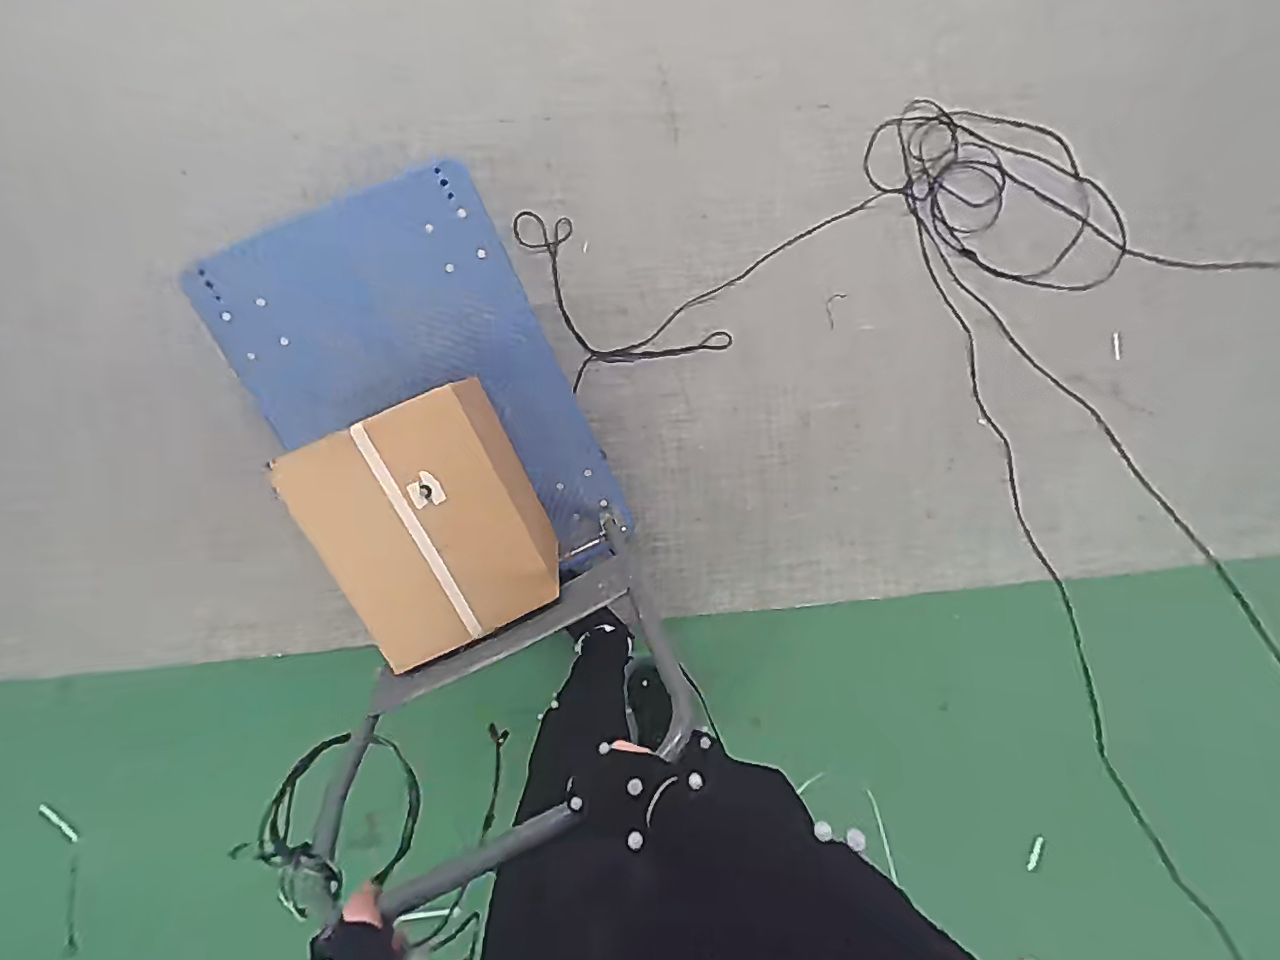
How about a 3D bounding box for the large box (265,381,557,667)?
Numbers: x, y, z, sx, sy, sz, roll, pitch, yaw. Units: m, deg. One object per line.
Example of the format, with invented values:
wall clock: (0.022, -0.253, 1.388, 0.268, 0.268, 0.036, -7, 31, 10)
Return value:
large box: (-0.381, 0.058, 1.028, 0.320, 0.320, 0.408, -24, 104, -3)
